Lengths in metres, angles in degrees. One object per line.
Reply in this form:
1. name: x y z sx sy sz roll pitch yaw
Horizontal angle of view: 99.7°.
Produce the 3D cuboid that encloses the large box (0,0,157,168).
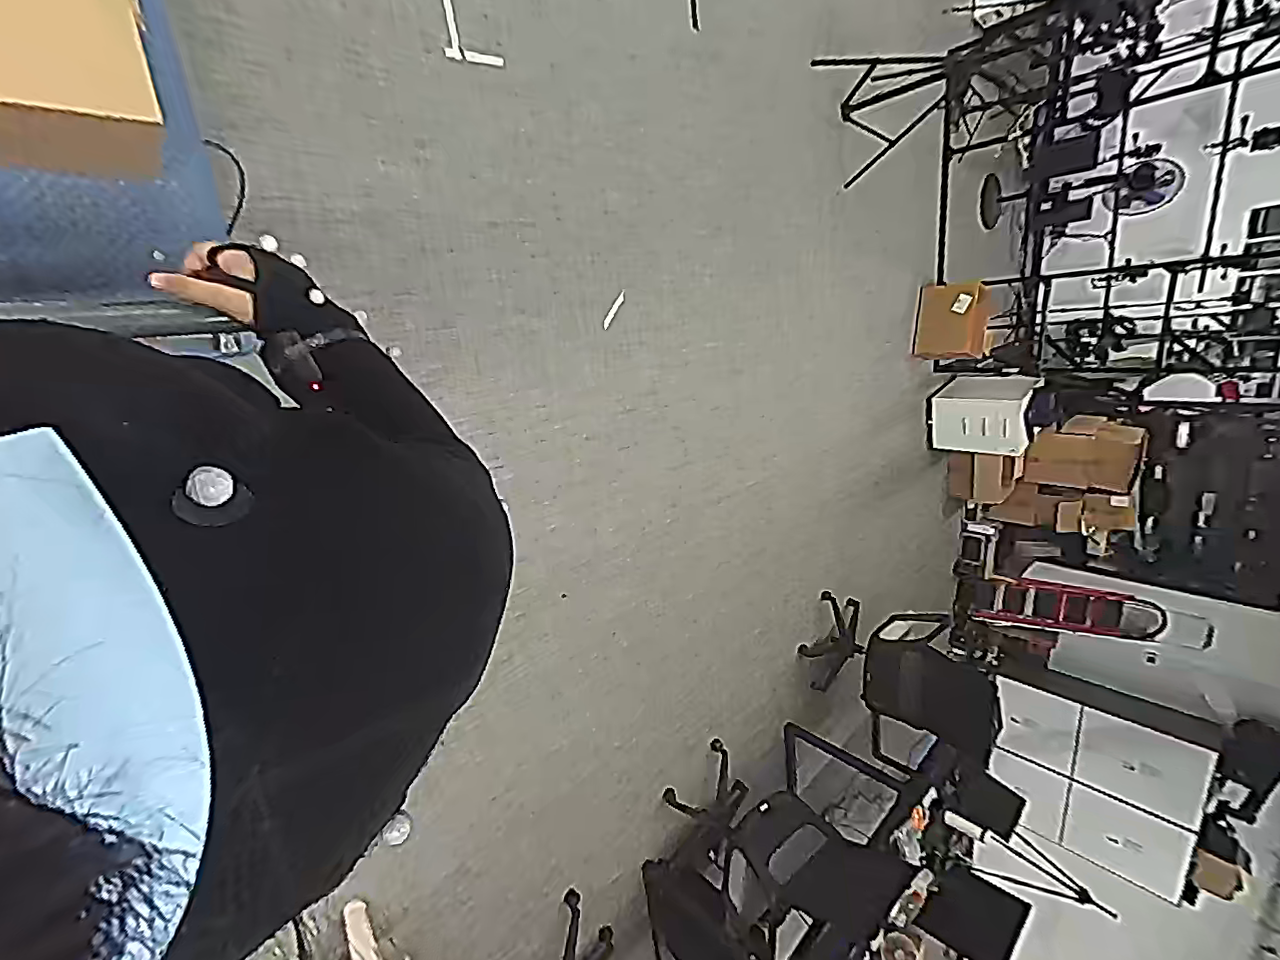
1. large box: -0.927 -0.621 0.691 0.408 0.320 0.320 -18 110 -39
